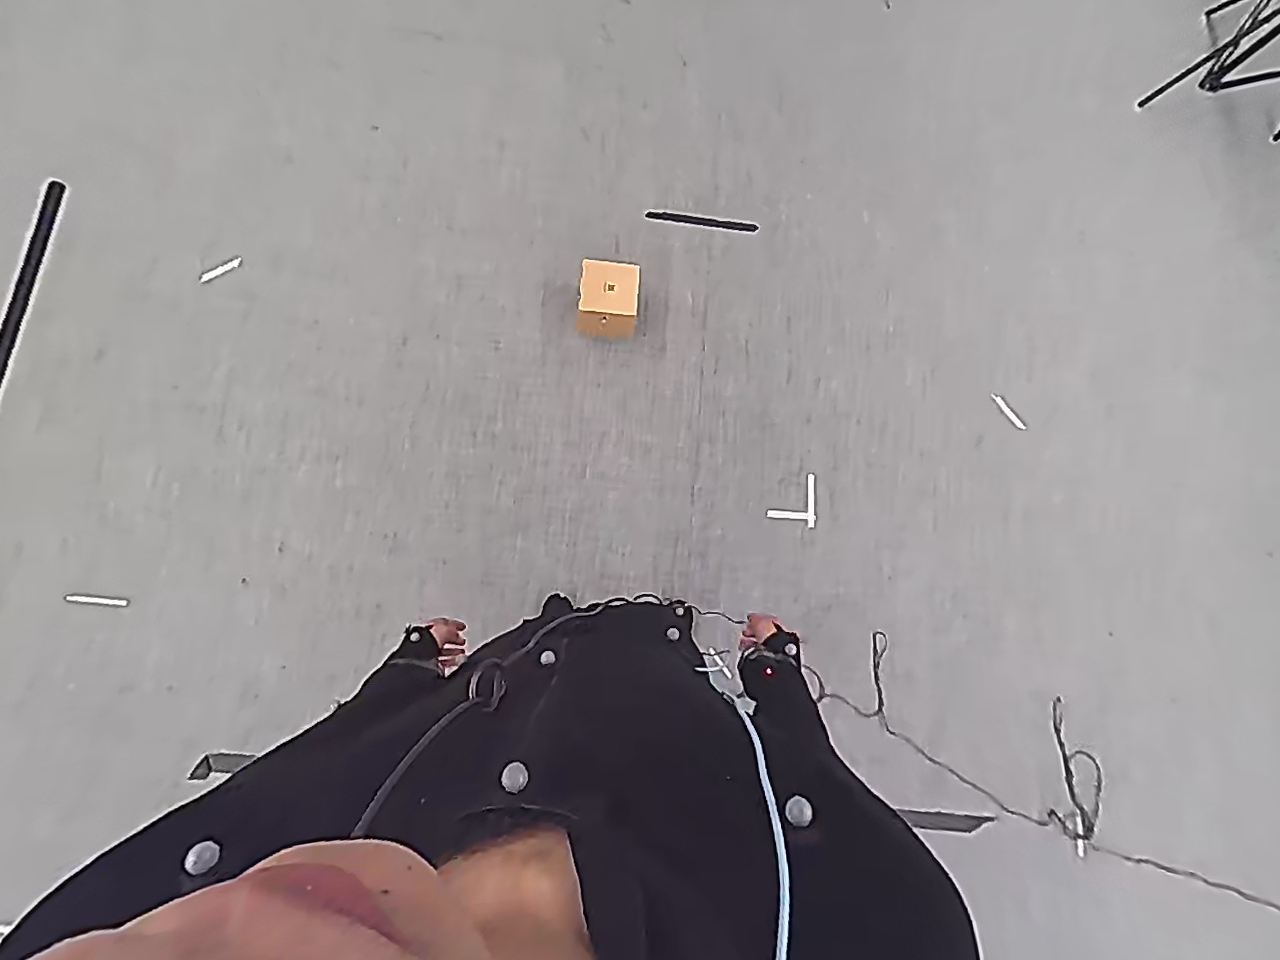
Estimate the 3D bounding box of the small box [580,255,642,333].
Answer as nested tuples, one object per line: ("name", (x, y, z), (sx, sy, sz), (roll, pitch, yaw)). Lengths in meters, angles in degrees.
("small box", (-0.094, -0.577, 1.698), (0.179, 0.176, 0.168), (5, 81, -4))
